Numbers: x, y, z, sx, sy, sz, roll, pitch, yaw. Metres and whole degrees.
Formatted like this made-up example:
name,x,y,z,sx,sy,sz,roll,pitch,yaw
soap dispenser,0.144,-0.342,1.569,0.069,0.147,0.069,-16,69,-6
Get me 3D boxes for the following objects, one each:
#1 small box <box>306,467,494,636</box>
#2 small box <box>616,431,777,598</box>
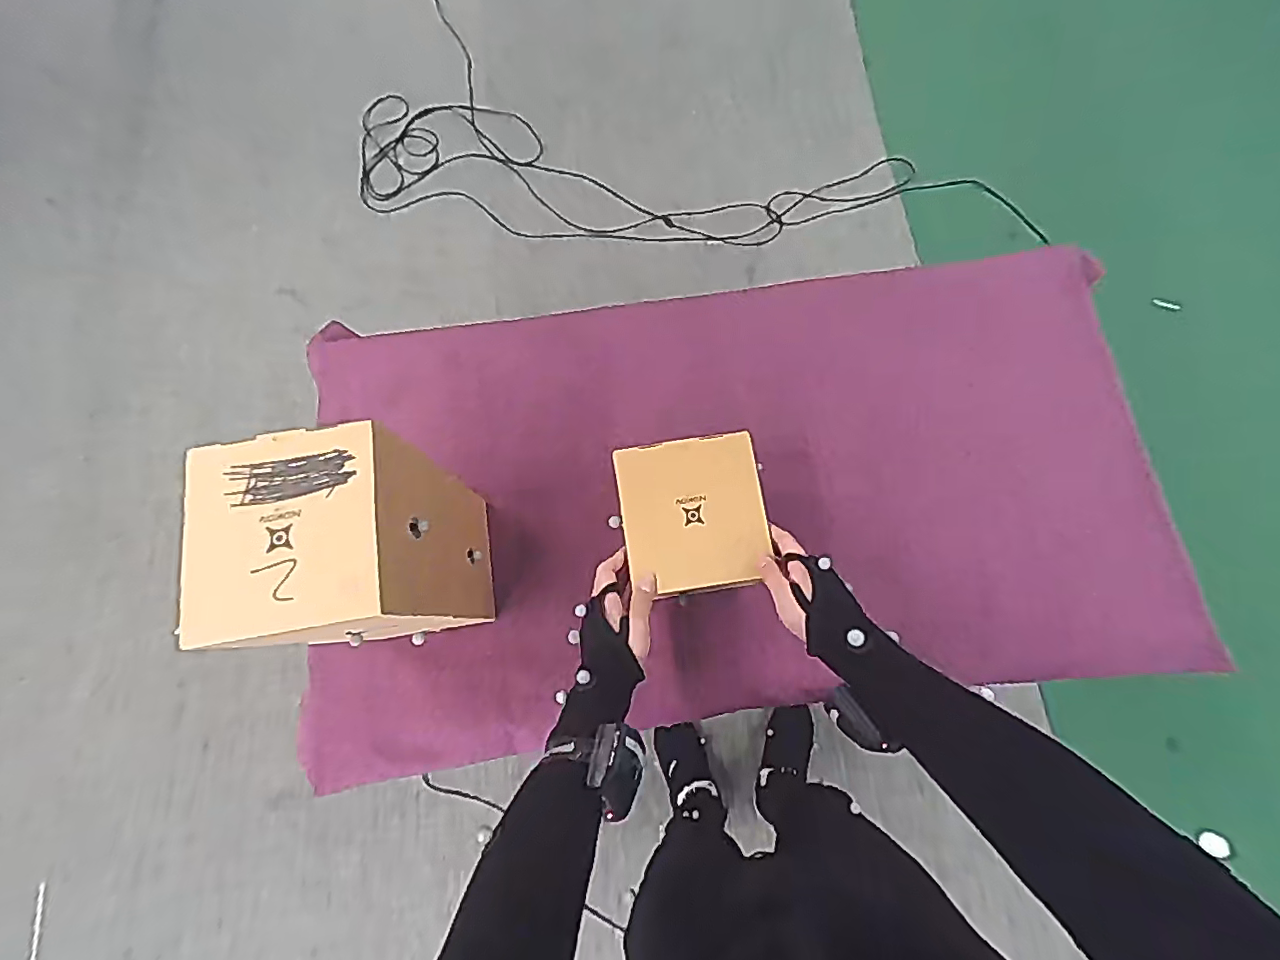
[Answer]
name,x,y,z,sx,sy,sz,roll,pitch,yaw
small box,-0.293,0.099,0.688,0.168,0.176,0.179,-9,76,-1
small box,0.065,0.055,0.697,0.168,0.176,0.179,-8,74,-1
